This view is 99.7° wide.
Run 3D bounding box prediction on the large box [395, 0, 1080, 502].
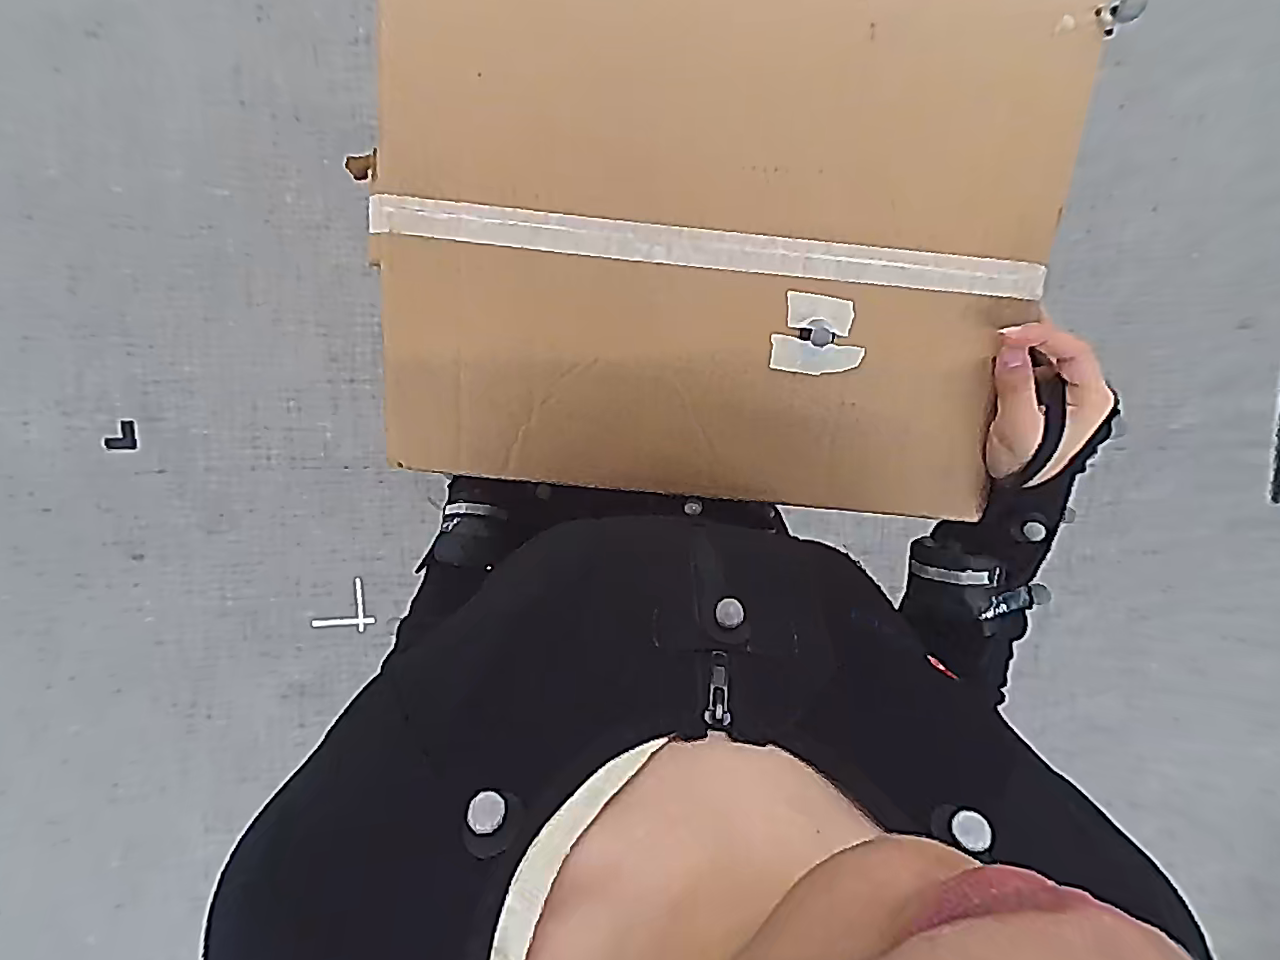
[{"bbox_3d":[0.044,-0.178,0.484,0.408,0.320,0.320,4,104,-3],"label":"large box"}]
